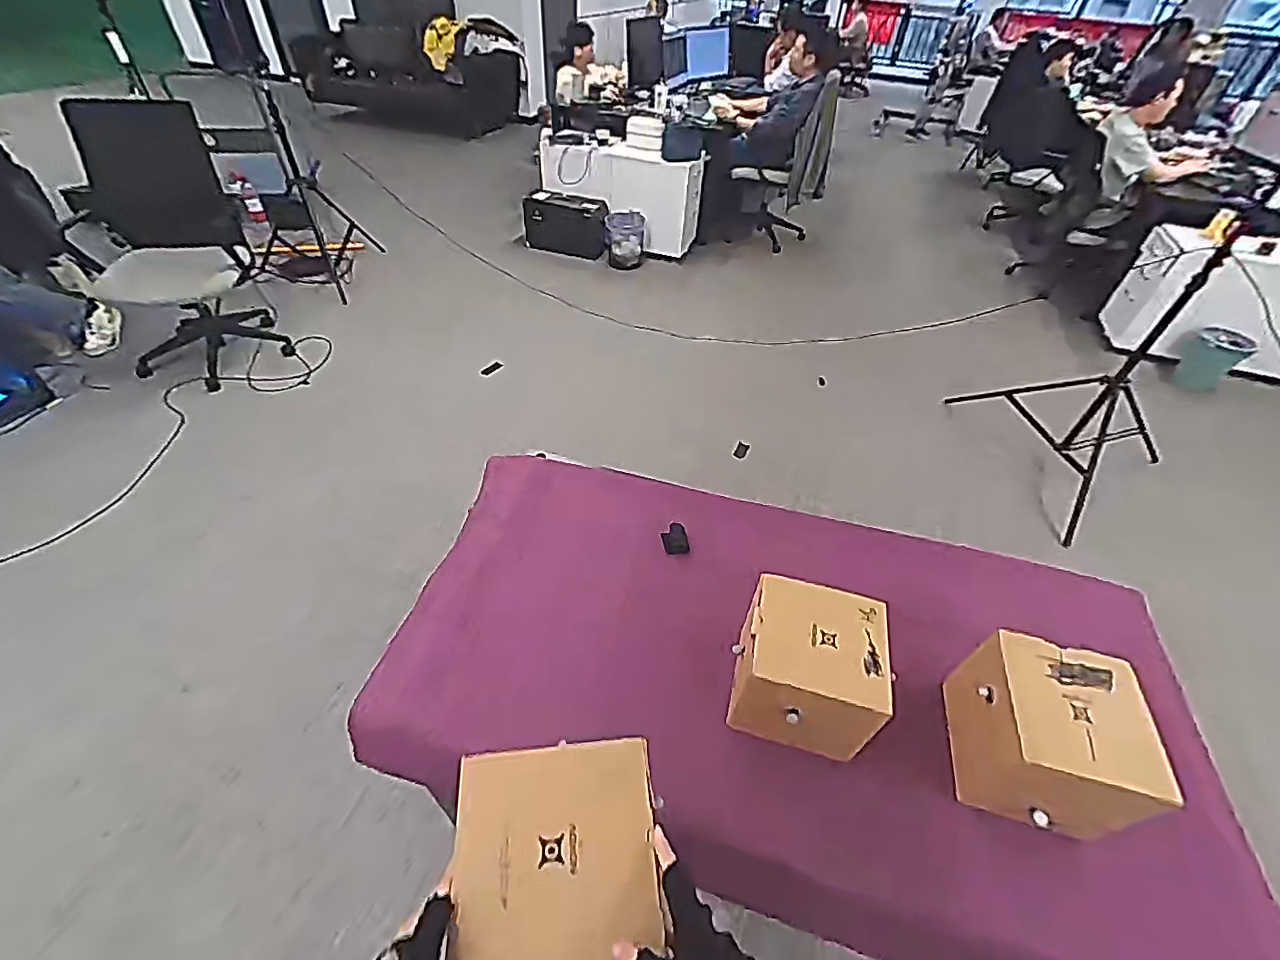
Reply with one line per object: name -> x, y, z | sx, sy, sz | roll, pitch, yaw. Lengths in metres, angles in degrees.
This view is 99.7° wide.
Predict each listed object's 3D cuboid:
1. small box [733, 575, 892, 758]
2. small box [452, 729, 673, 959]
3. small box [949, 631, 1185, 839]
small box -> 0.237, 0.266, 0.768 | 0.179, 0.176, 0.168 | 12, 44, 10
small box -> -0.069, 0.361, 0.533 | 0.179, 0.176, 0.168 | -5, 50, -4
small box -> 0.535, 0.336, 0.715 | 0.168, 0.176, 0.179 | 13, 45, 10
